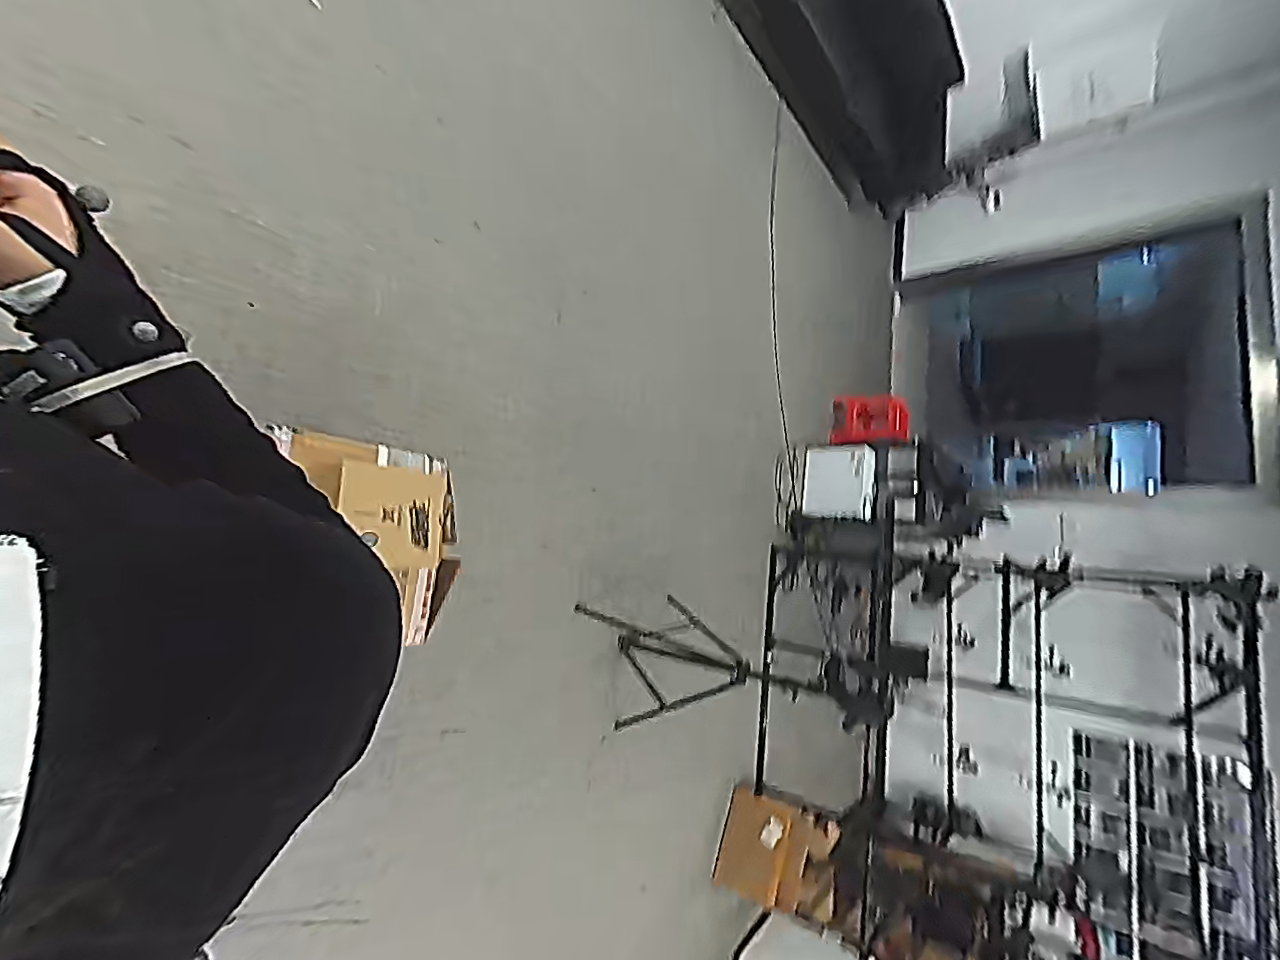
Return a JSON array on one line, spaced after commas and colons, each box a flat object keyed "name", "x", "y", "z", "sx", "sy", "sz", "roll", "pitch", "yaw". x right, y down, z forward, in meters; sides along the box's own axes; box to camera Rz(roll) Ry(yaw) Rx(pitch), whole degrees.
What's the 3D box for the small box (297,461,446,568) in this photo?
[{"name": "small box", "x": -0.470, "y": 0.063, "z": 0.950, "sx": 0.179, "sy": 0.176, "sz": 0.168, "roll": 11, "pitch": 80, "yaw": -46}]
